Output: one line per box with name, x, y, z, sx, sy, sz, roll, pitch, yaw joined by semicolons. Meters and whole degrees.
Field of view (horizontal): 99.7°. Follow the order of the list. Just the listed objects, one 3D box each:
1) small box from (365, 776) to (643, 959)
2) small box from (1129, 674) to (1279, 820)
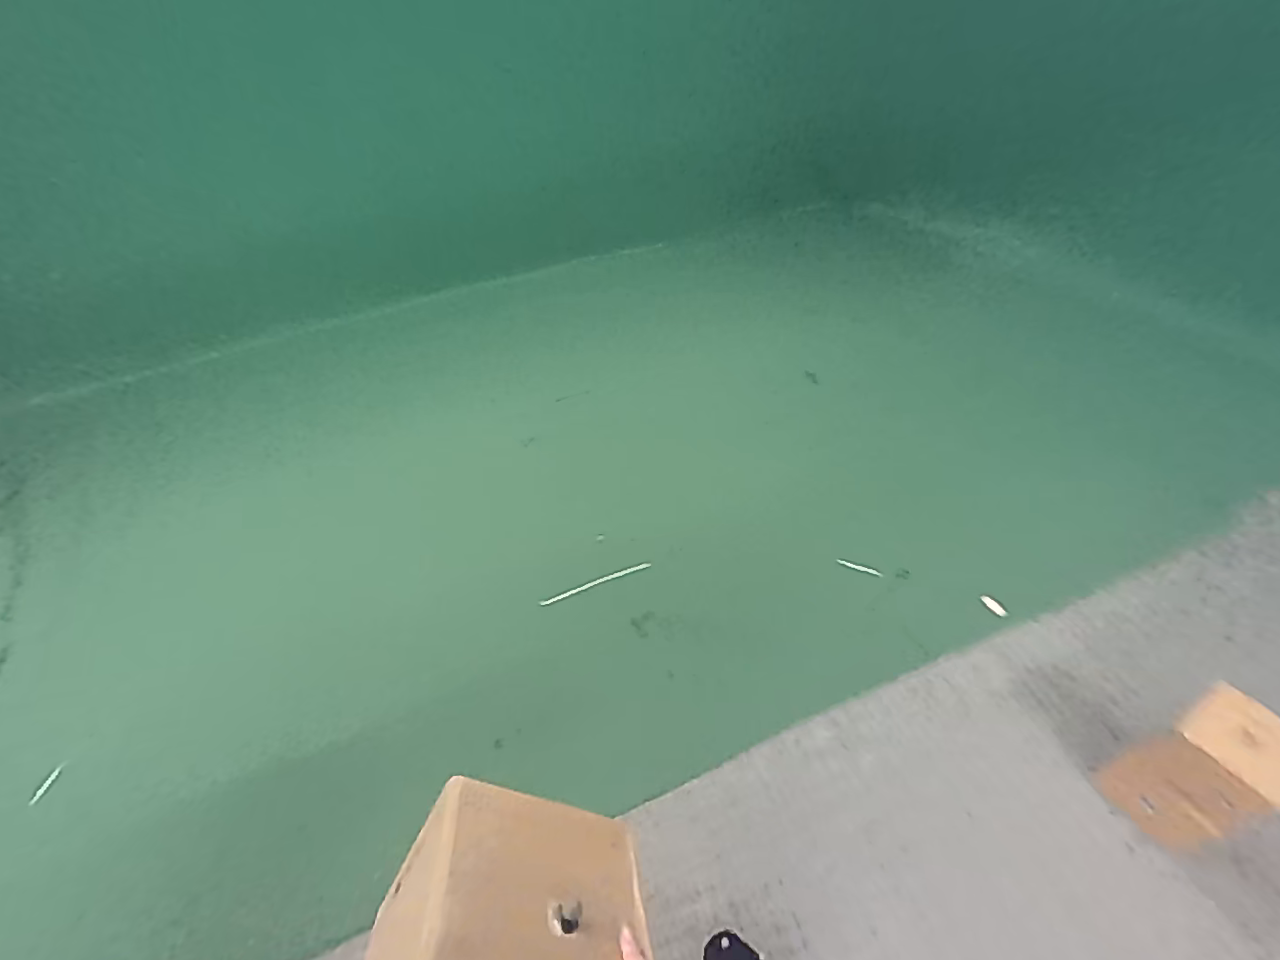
small box;-0.108;0.373;0.424;0.179;0.168;0.176;27;9;-16
small box;1.123;0.525;1.061;0.179;0.176;0.168;-27;48;-19
